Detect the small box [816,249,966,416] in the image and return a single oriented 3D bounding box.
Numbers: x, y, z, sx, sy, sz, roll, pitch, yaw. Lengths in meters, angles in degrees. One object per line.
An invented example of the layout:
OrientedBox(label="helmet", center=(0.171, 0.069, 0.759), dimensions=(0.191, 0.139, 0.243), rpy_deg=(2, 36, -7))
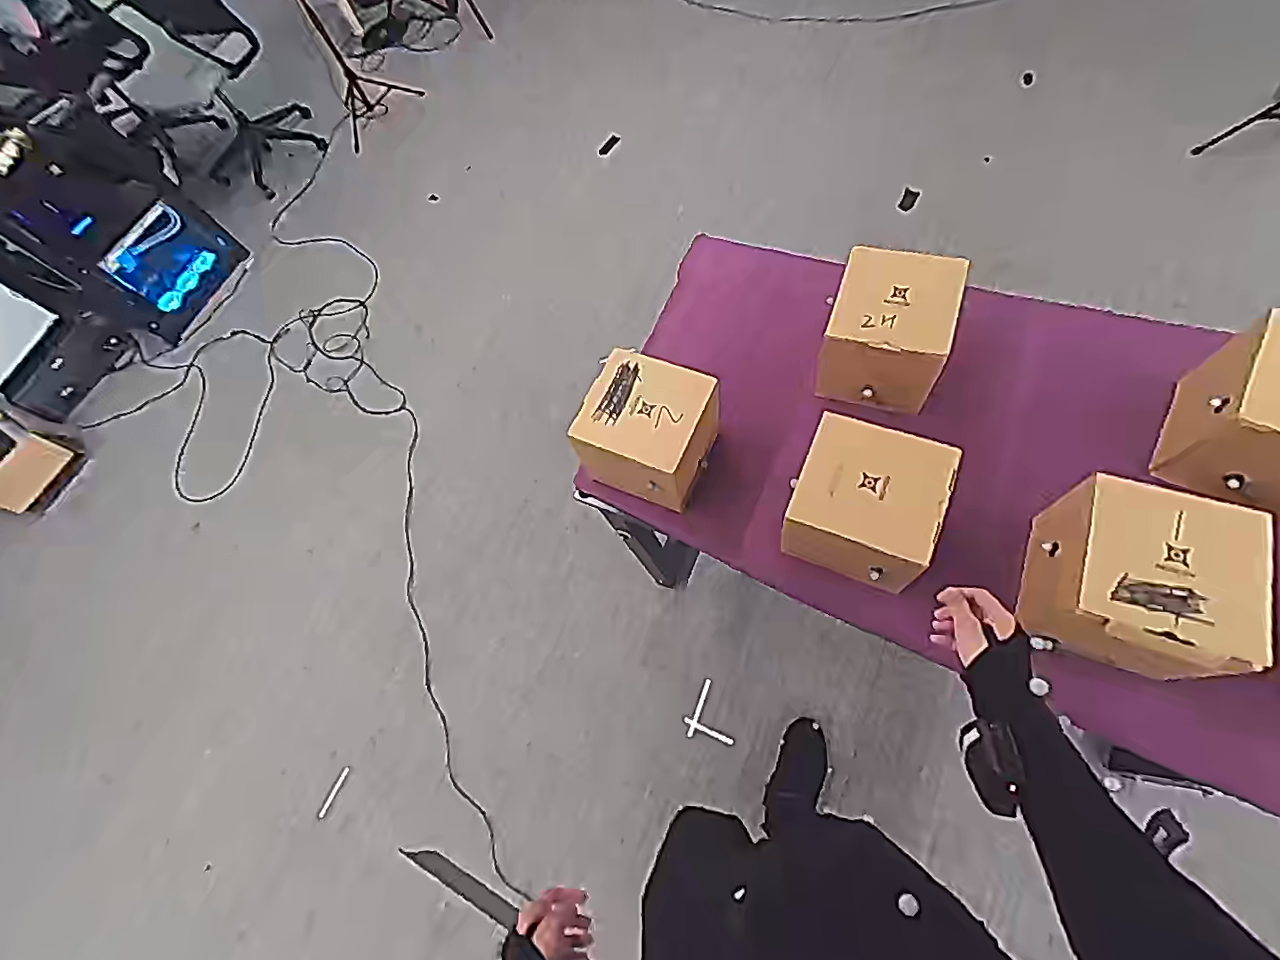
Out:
OrientedBox(label="small box", center=(0.386, -0.229, 0.857), dimensions=(0.168, 0.176, 0.179), rpy_deg=(16, 71, 19))

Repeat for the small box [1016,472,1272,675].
OrientedBox(label="small box", center=(0.588, 0.120, 0.654), dimensions=(0.168, 0.176, 0.179), rpy_deg=(18, 71, 19))

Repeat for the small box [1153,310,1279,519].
OrientedBox(label="small box", center=(0.820, -0.078, 0.693), dimensions=(0.168, 0.176, 0.179), rpy_deg=(26, 76, 22))

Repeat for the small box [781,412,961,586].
OrientedBox(label="small box", center=(0.309, 0.035, 0.754), dimensions=(0.179, 0.176, 0.168), rpy_deg=(19, 72, 20))
